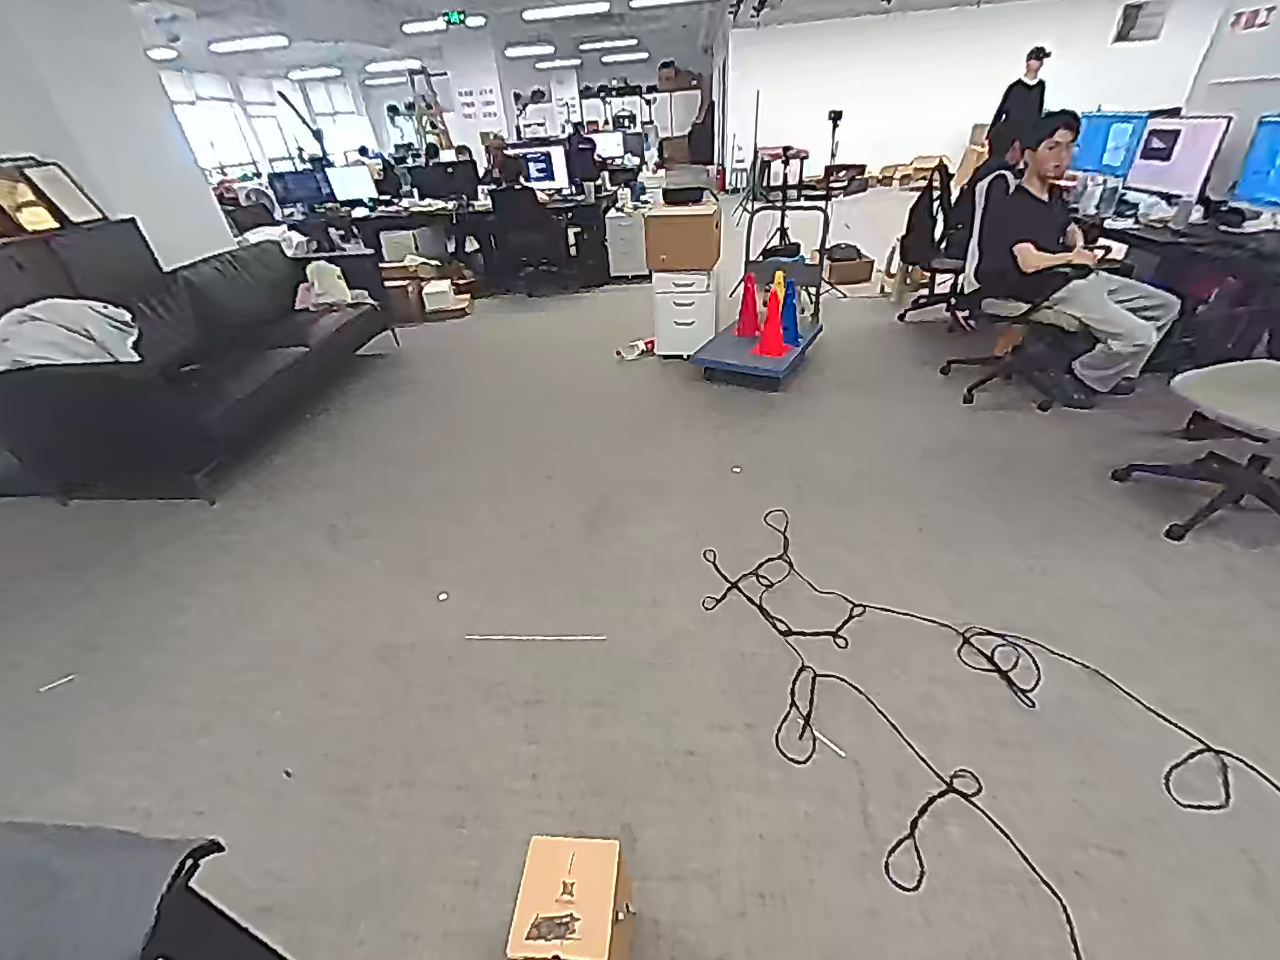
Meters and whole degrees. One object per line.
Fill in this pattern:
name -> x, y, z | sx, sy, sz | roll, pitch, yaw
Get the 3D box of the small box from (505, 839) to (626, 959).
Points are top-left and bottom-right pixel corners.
small box -> -0.118, 0.765, 0.944 | 0.168, 0.176, 0.179 | -1, 33, 6

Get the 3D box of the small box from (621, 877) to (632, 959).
small box -> -0.109, 0.894, 1.044 | 0.168, 0.176, 0.179 | 0, 33, 8
